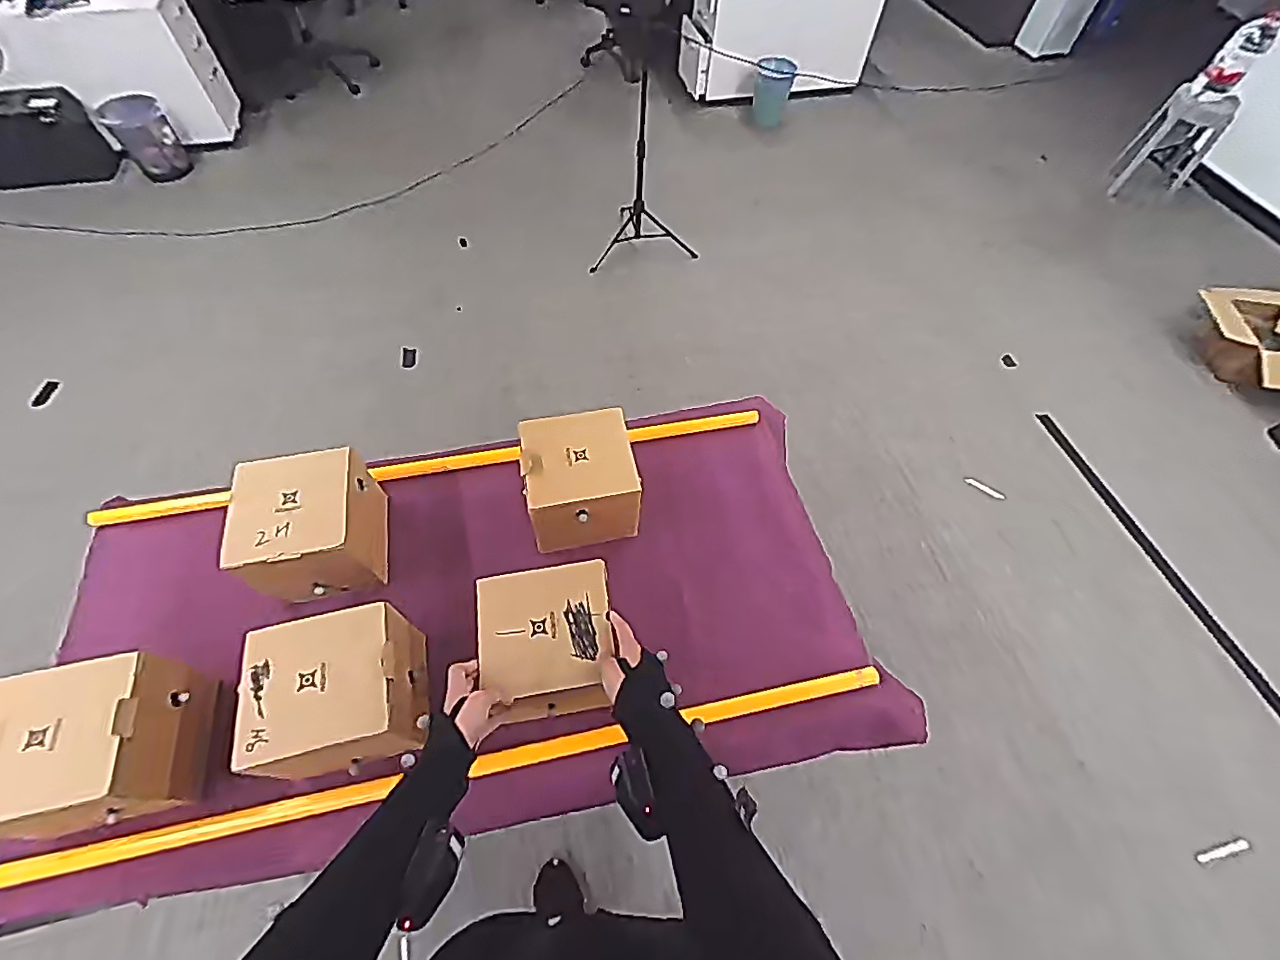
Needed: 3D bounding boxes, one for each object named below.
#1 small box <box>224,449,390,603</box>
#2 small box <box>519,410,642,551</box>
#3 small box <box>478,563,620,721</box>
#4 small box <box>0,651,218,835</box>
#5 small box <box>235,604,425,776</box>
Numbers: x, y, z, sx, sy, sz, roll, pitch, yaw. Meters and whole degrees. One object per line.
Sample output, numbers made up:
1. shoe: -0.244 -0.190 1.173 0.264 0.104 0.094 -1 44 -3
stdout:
1. small box: -0.514 0.077 0.863 0.168 0.176 0.179 -10 61 -8
2. small box: -0.101 0.005 0.926 0.179 0.176 0.168 -10 60 -8
3. small box: -0.124 0.235 0.772 0.179 0.176 0.168 -8 59 -5
4. small box: -0.689 0.337 0.693 0.179 0.176 0.168 -10 58 -11
5. small box: -0.401 0.289 0.737 0.179 0.176 0.168 -11 59 -10
